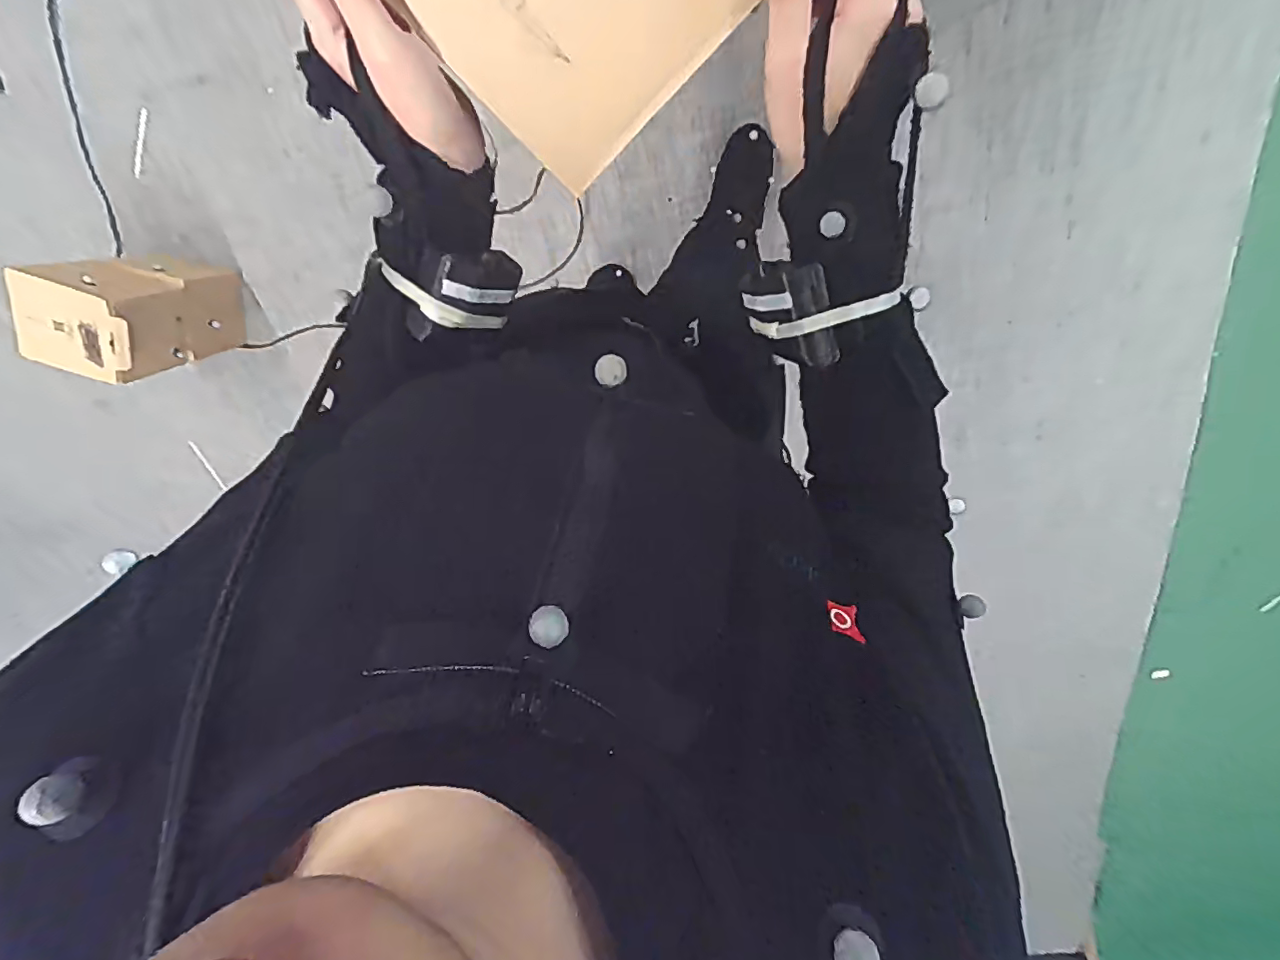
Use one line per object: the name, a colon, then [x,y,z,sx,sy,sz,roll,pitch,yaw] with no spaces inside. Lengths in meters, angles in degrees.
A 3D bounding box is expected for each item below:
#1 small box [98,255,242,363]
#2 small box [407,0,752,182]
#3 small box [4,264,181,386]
small box: [-1.014,-0.380,1.187,0.168,0.176,0.179,13,116,-4]
small box: [-0.026,-0.307,0.279,0.179,0.176,0.168,-34,127,30]
small box: [-1.030,-0.305,1.041,0.179,0.176,0.168,18,115,-6]
